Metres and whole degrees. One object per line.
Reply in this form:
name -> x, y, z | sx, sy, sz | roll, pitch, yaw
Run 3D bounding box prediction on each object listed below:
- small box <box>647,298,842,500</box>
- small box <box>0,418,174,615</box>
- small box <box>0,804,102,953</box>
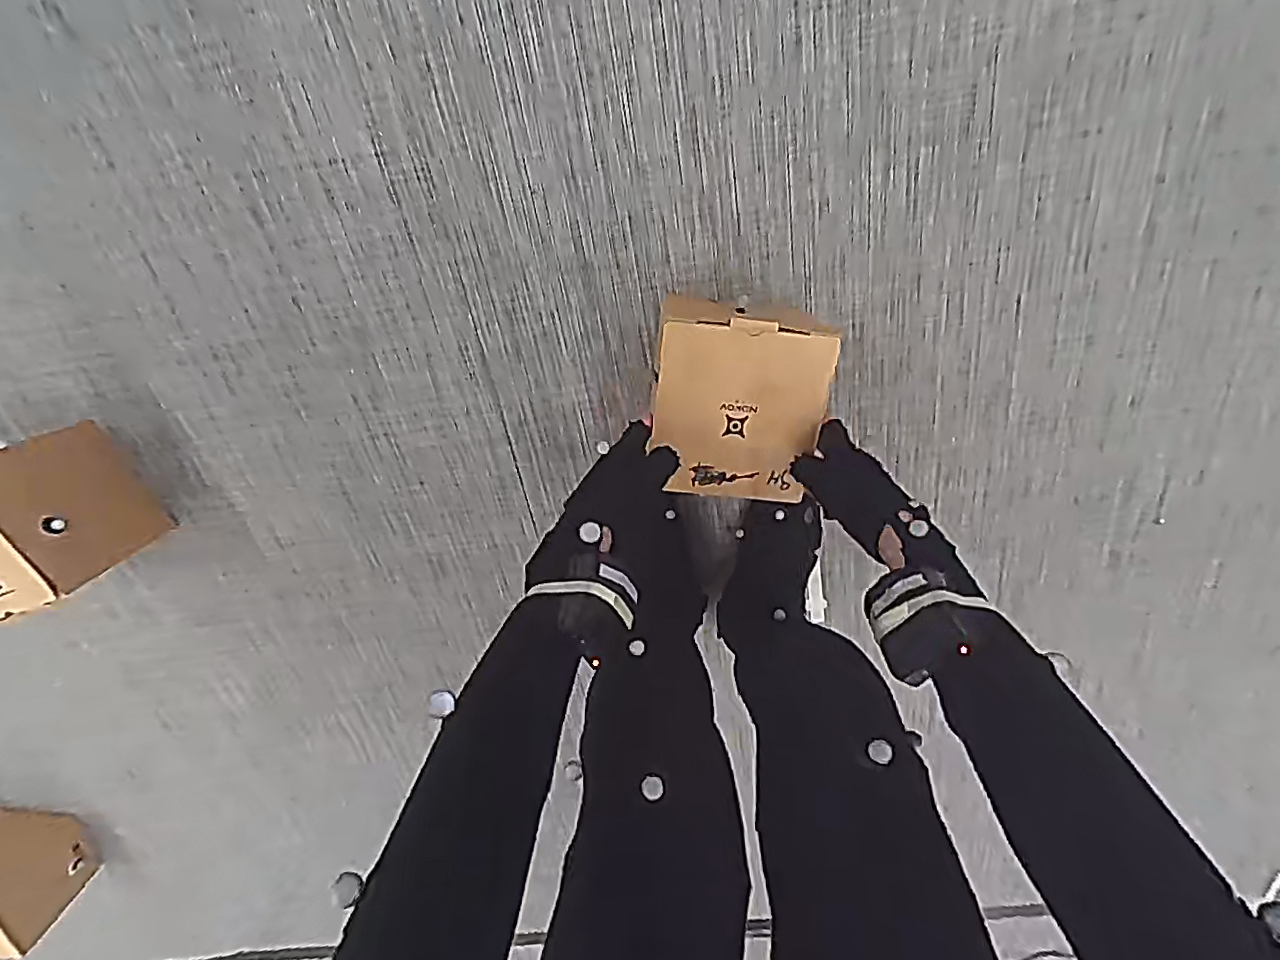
small box -> 0.099, -0.099, 0.600 | 0.168, 0.176, 0.179 | 6, 115, -1
small box -> -0.768, 0.044, 0.690 | 0.168, 0.176, 0.179 | -19, 112, 10
small box -> -1.202, 0.747, 1.025 | 0.179, 0.176, 0.168 | 6, 116, -2
